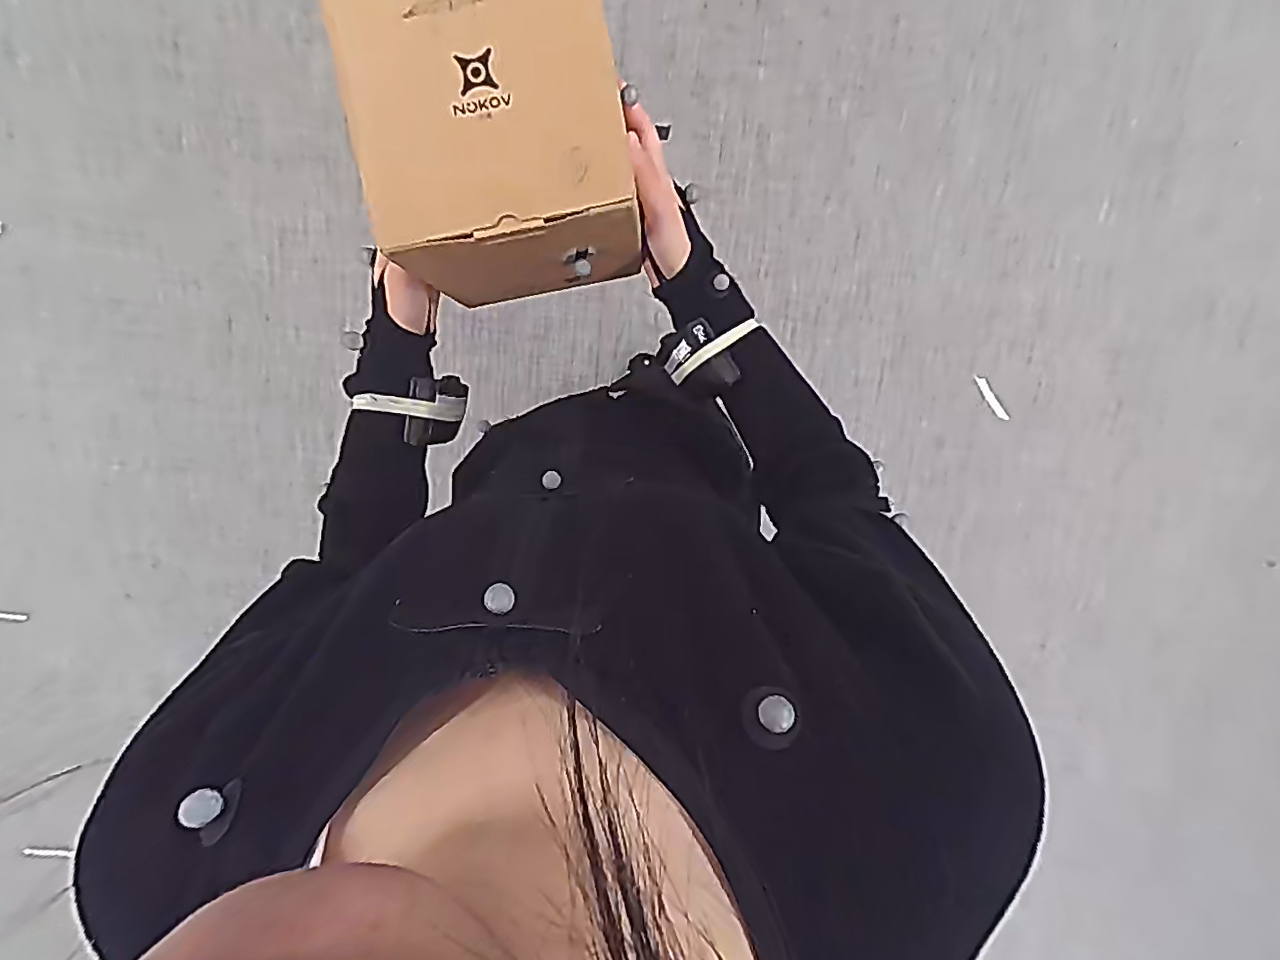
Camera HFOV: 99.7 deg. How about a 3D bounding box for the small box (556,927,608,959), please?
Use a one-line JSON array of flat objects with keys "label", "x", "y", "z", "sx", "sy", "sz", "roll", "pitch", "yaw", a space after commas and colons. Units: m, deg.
[{"label": "small box", "x": -0.194, "y": 1.599, "z": 1.742, "sx": 0.168, "sy": 0.176, "sz": 0.179, "roll": 6, "pitch": 103, "yaw": -3}]
